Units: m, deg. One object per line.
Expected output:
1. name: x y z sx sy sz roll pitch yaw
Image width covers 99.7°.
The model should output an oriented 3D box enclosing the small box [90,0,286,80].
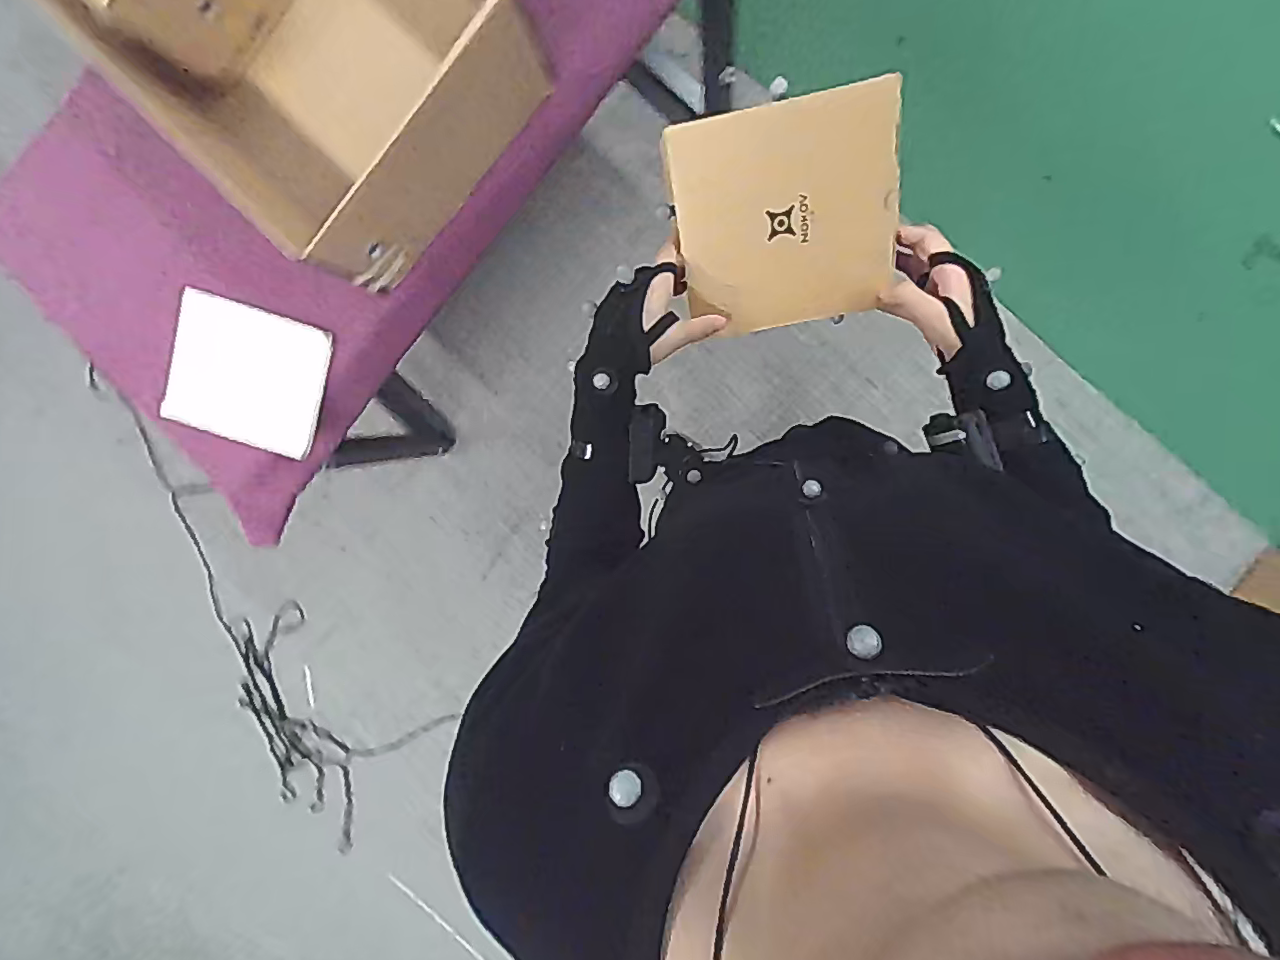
1. small box: -0.598 -0.652 0.674 0.179 0.176 0.168 44 100 0

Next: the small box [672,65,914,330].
1. small box: 0.125 -0.249 0.498 0.179 0.176 0.168 -9 118 5
